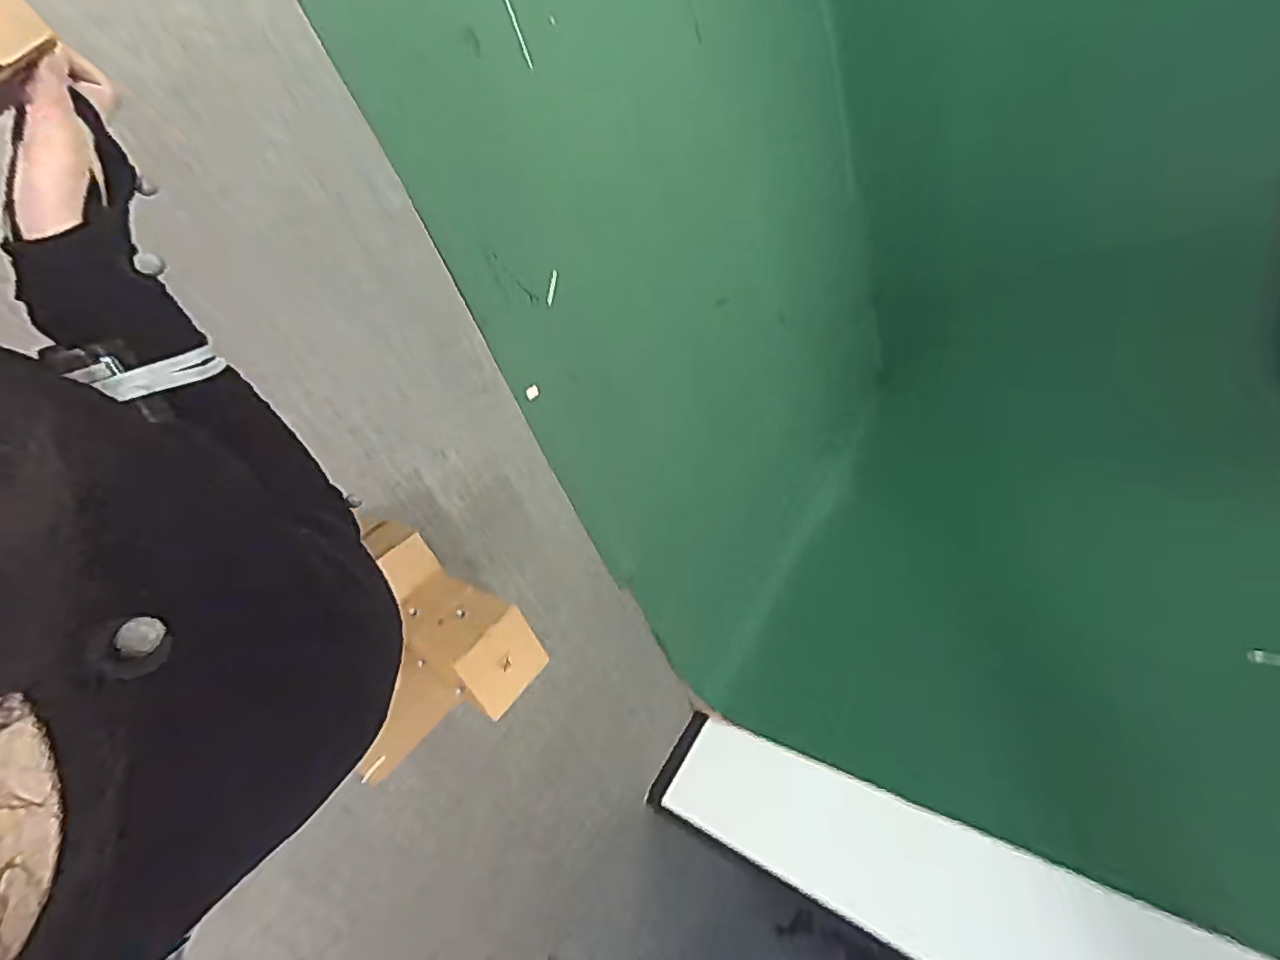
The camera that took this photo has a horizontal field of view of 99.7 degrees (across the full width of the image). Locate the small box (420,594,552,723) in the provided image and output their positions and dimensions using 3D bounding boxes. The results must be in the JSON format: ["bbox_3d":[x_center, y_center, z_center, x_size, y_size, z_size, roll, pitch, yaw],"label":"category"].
[{"bbox_3d":[-0.324,0.366,1.141,0.168,0.176,0.179,-43,123,-36],"label":"small box"}]

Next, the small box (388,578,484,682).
[{"bbox_3d":[-0.444,0.345,1.251,0.168,0.176,0.179,-43,126,-36],"label":"small box"}]
